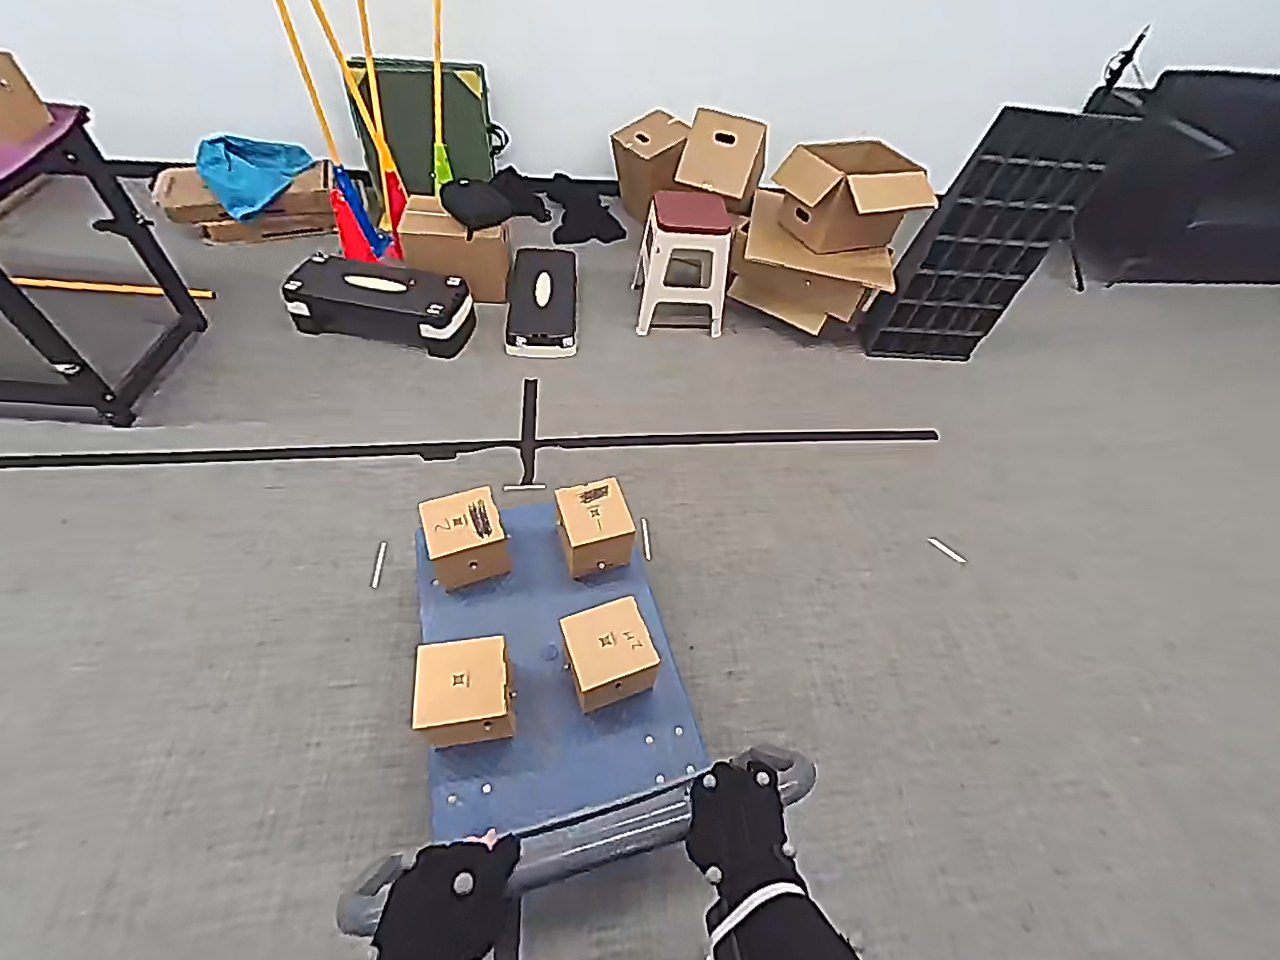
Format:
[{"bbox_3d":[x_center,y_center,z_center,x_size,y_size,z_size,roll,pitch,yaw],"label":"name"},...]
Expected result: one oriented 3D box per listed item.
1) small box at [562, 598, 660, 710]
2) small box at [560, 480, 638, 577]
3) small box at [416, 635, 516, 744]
[{"bbox_3d":[-0.069,0.397,1.225,0.179,0.176,0.168,-14,56,-16],"label":"small box"},{"bbox_3d":[-0.114,0.129,1.426,0.168,0.176,0.179,-12,56,-15],"label":"small box"},{"bbox_3d":[-0.363,0.450,1.154,0.179,0.176,0.168,-4,53,-11],"label":"small box"}]
